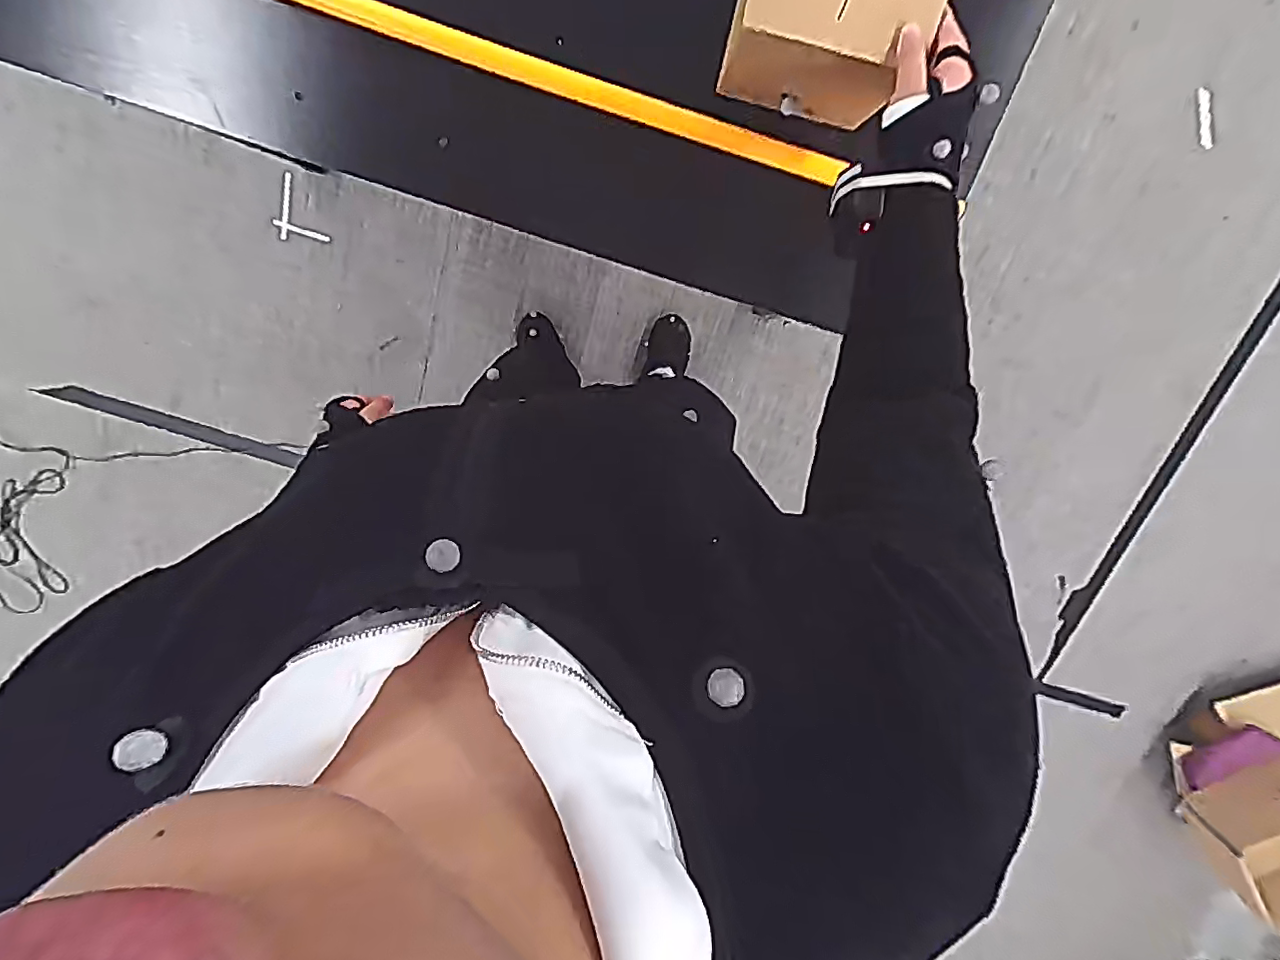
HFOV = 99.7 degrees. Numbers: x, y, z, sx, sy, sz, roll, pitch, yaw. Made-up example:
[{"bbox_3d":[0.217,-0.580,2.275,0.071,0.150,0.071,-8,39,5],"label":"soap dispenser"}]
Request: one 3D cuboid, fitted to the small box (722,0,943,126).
[{"bbox_3d":[0.185,-0.479,0.519,0.168,0.176,0.179,13,109,-4],"label":"small box"}]
